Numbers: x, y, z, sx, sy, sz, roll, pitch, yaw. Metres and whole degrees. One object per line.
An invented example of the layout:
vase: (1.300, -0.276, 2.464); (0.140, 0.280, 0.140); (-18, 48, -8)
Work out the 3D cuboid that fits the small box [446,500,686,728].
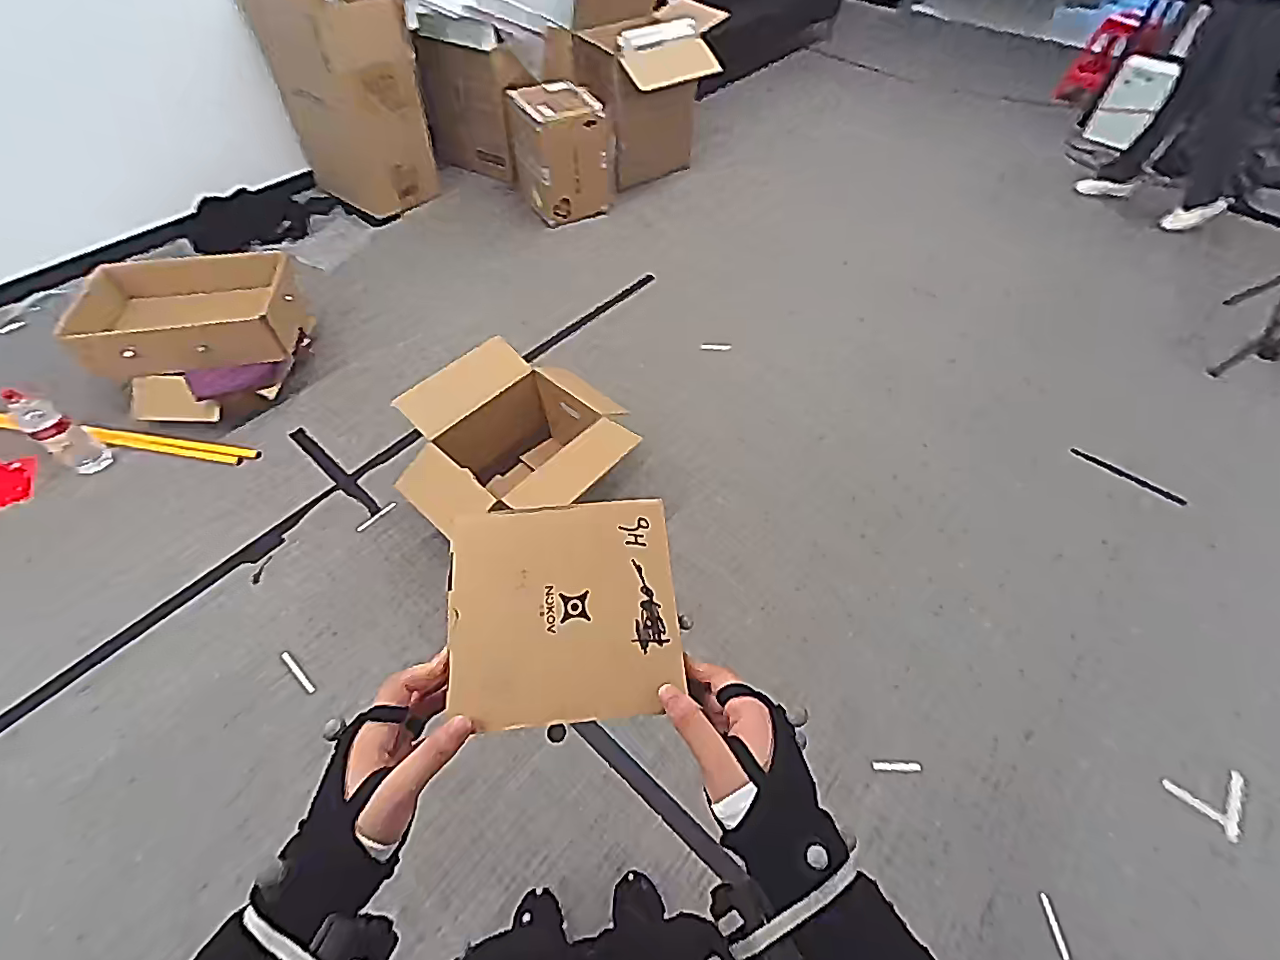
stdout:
small box: (-0.059, 0.129, 0.491); (0.179, 0.176, 0.168); (-5, 67, -3)
